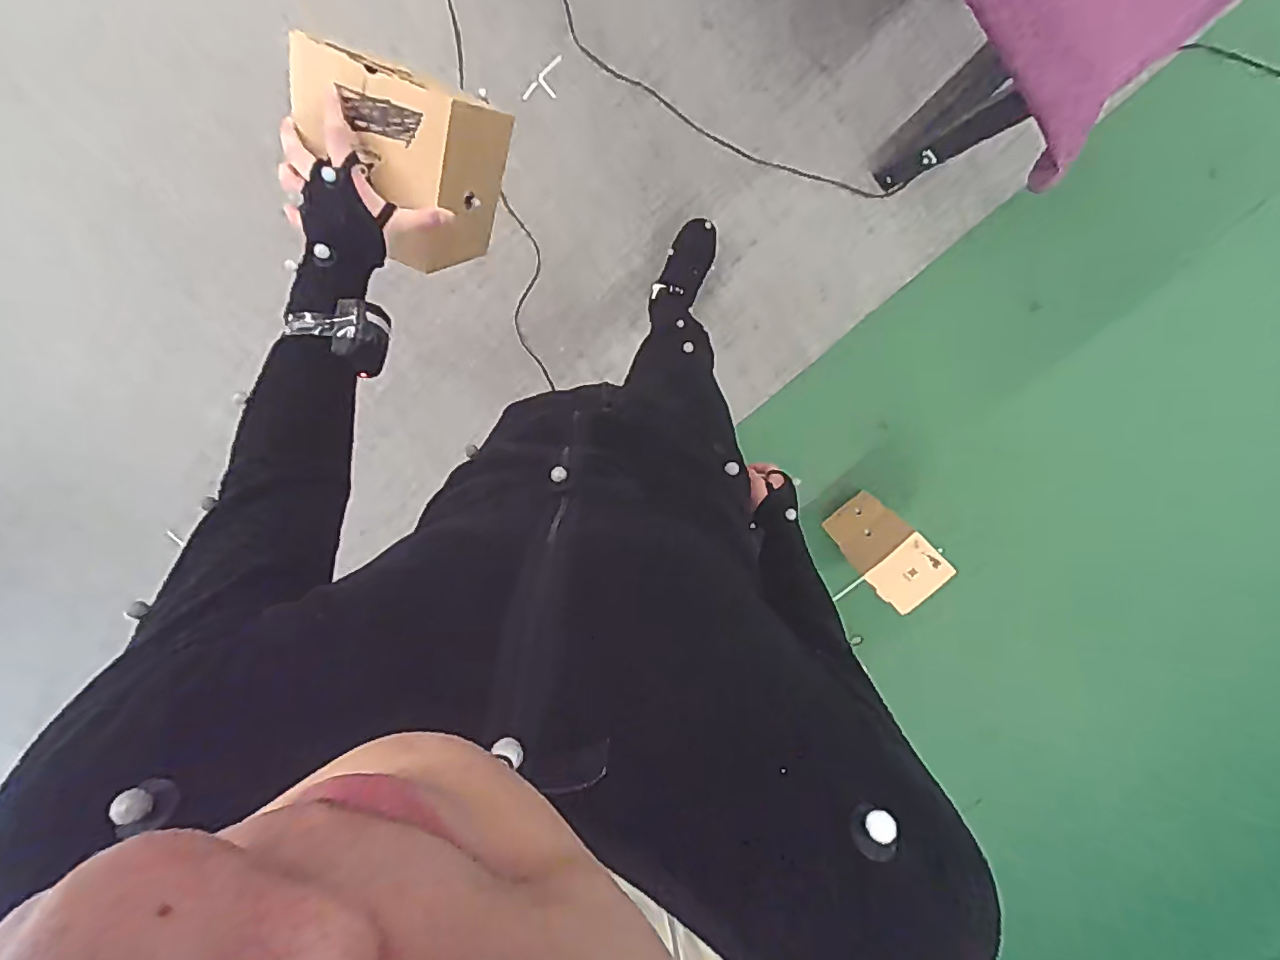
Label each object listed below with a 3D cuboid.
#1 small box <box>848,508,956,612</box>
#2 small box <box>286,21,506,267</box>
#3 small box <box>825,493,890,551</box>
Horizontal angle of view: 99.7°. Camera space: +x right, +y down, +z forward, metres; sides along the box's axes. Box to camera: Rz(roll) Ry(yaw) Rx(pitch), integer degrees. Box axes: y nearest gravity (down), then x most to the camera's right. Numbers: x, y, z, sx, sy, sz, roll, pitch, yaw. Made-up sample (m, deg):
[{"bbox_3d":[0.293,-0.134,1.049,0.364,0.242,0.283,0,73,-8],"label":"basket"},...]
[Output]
[{"bbox_3d":[0.675,0.205,1.425,0.168,0.176,0.179,42,105,-12],"label":"small box"},{"bbox_3d":[-0.272,-0.376,0.626,0.168,0.176,0.179,23,122,-2],"label":"small box"},{"bbox_3d":[0.675,0.157,1.582,0.168,0.176,0.179,-42,102,13],"label":"small box"}]
